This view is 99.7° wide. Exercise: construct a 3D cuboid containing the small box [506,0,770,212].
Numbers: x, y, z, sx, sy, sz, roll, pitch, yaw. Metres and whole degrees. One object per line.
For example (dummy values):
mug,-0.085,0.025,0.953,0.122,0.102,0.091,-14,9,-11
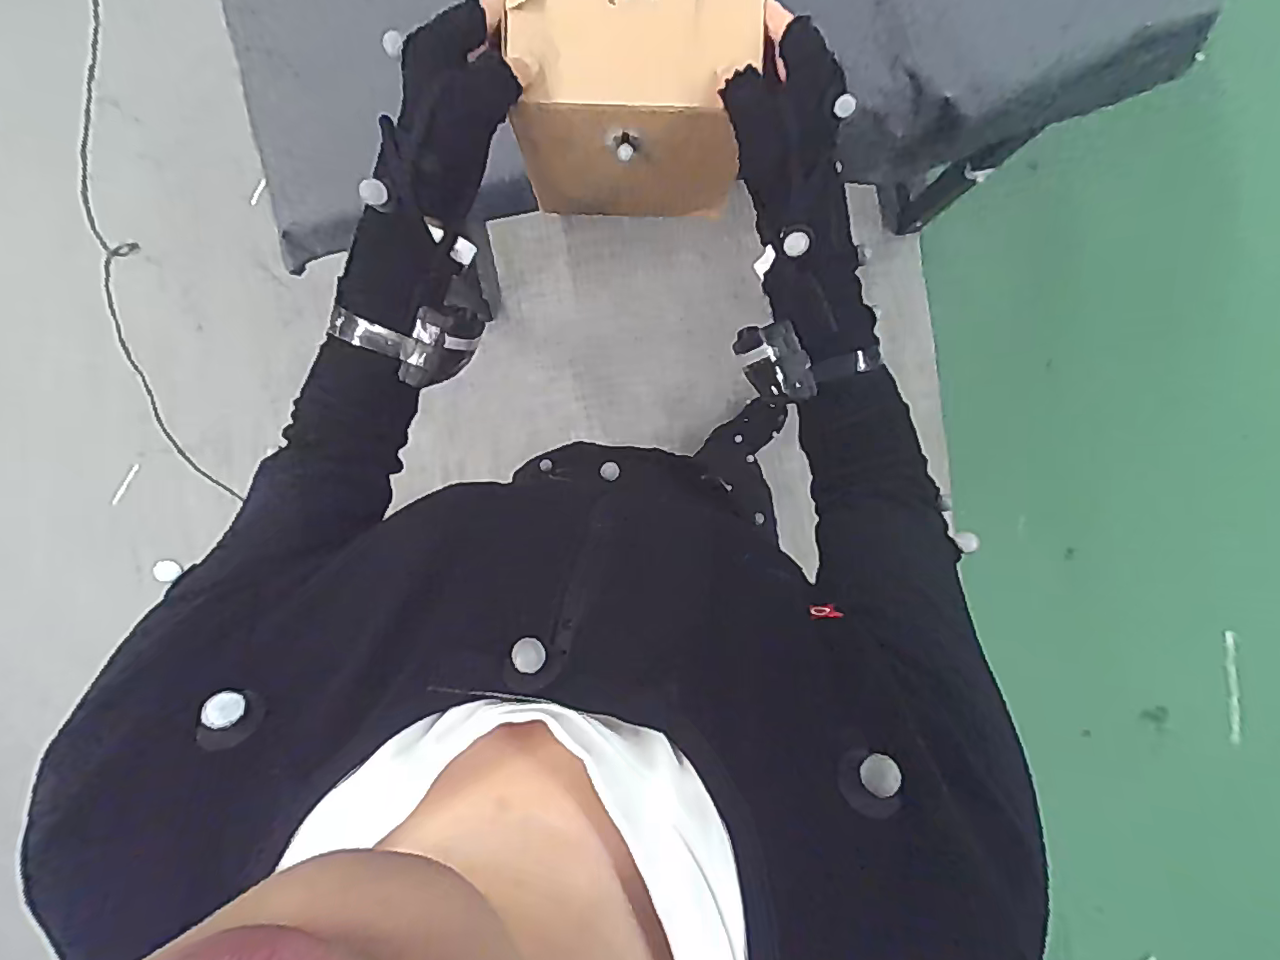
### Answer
small box,-0.002,-0.338,0.438,0.179,0.176,0.168,2,92,-3
